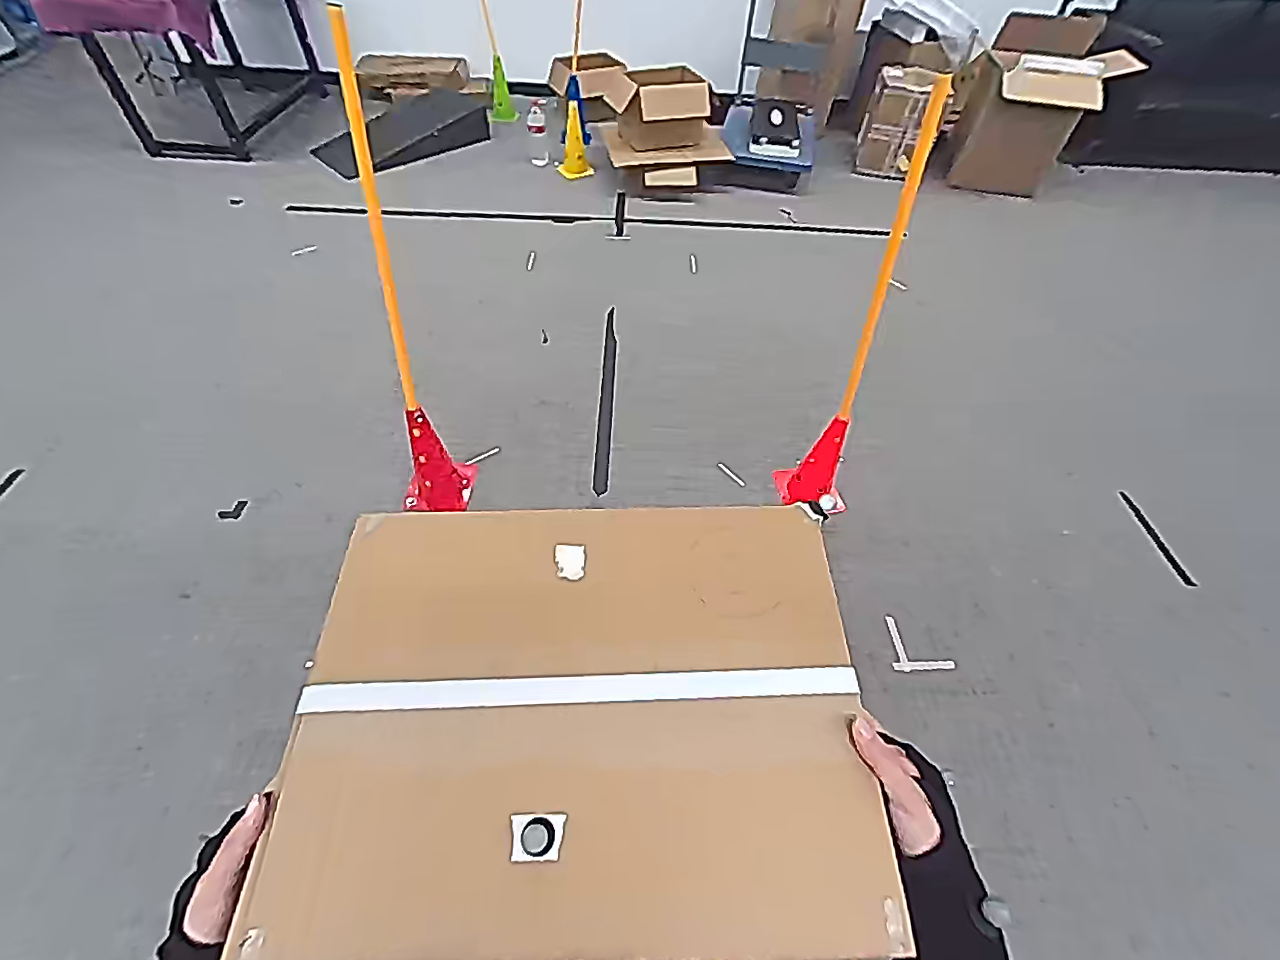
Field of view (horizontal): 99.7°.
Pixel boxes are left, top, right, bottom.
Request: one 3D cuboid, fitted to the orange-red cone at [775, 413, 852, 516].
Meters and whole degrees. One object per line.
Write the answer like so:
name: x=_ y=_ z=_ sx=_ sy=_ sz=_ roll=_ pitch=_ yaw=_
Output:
orange-red cone: x=0.577 y=-0.072 z=1.676 sx=0.199 sy=0.360 sz=0.198 roll=-5 pitch=53 yaw=-9
